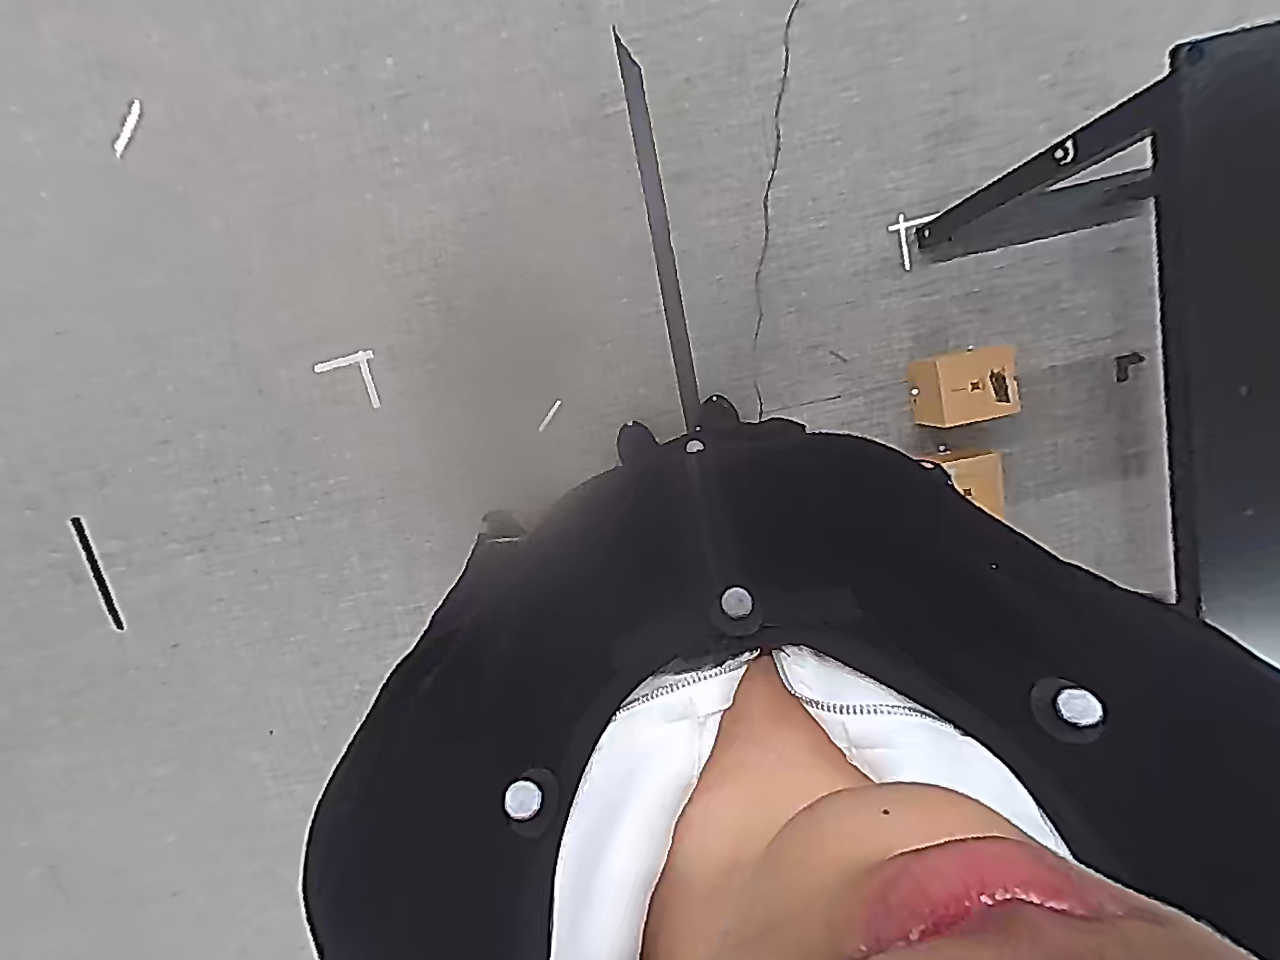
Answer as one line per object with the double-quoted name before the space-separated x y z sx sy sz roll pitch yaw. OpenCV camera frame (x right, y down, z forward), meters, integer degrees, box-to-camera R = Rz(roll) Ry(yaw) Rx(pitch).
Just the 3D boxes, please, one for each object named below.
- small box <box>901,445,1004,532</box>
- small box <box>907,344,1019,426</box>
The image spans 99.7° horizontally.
"small box" 0.795 0.018 1.387 0.168 0.176 0.179 -12 98 4
"small box" 0.795 -0.237 1.343 0.179 0.176 0.168 -12 99 5
